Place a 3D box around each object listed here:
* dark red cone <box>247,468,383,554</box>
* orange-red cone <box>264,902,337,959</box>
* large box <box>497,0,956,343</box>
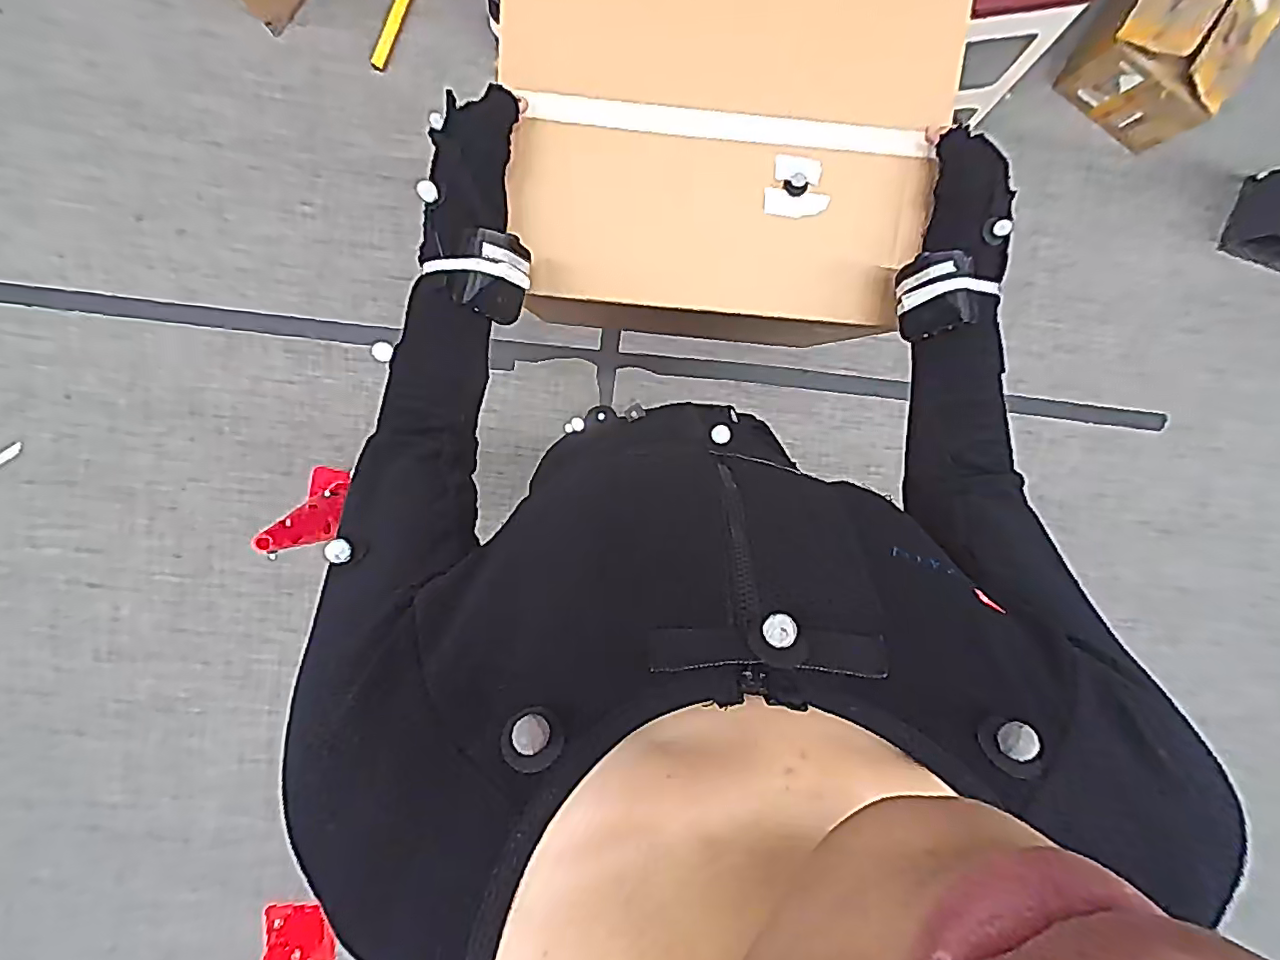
[{"bbox_3d":[-0.766,0.102,1.245,0.201,0.394,0.202,12,97,-6],"label":"dark red cone"},{"bbox_3d":[-0.991,1.369,1.433,0.198,0.360,0.199,4,99,-3],"label":"orange-red cone"},{"bbox_3d":[0.066,-0.342,0.633,0.408,0.320,0.320,4,100,-3],"label":"large box"}]
